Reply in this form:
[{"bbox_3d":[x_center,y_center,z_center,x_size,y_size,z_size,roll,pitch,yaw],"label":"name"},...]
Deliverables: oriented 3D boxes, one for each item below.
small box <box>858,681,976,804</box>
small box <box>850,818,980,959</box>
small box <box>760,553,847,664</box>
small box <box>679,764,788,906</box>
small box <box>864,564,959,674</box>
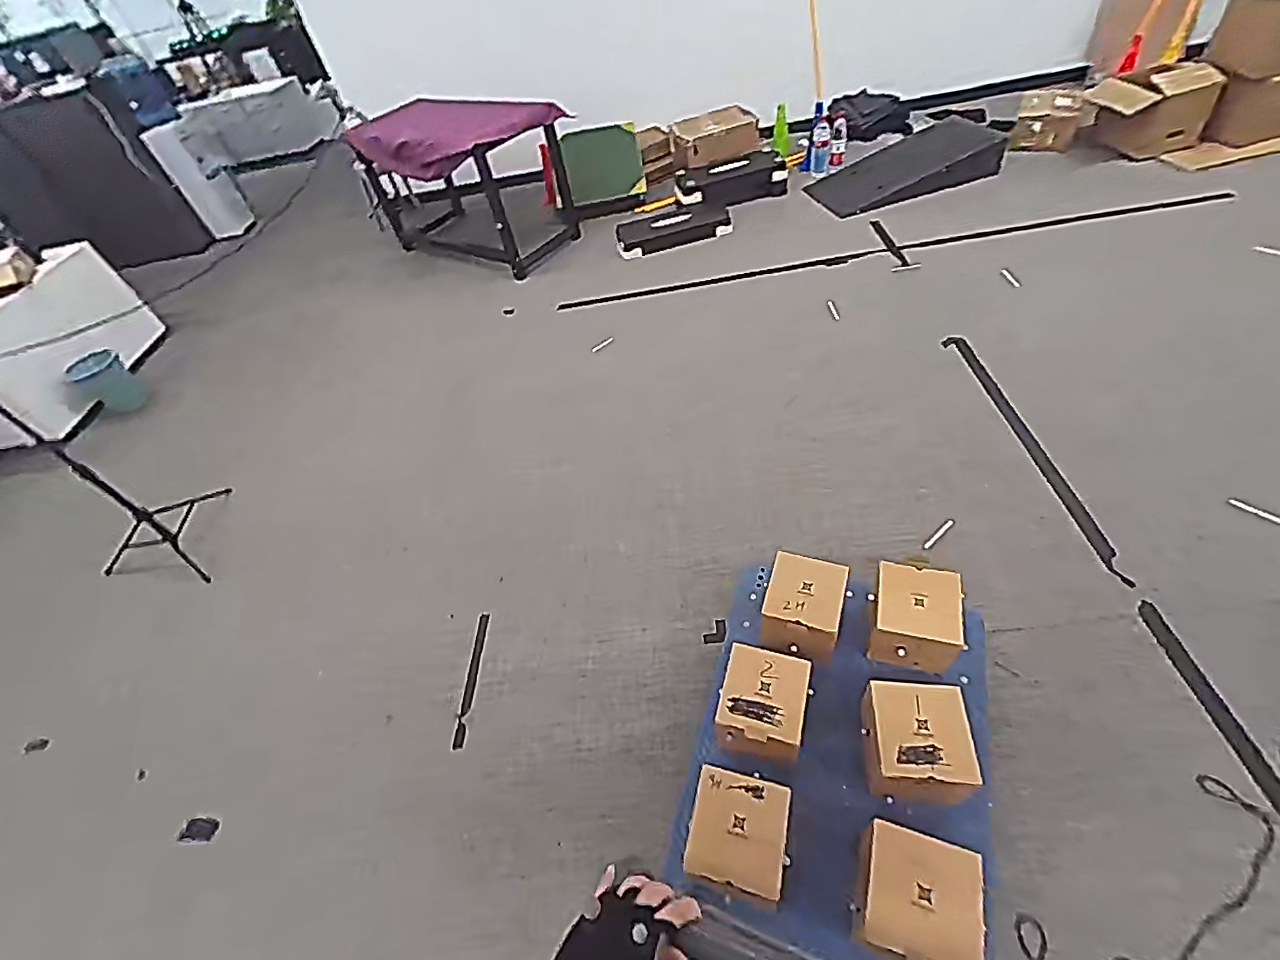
[{"bbox_3d":[0.536,0.523,1.072,0.168,0.176,0.179,1,49,12],"label":"small box"},{"bbox_3d":[0.460,0.716,0.919,0.168,0.176,0.179,11,52,20],"label":"small box"},{"bbox_3d":[0.386,0.308,1.291,0.168,0.176,0.179,11,53,21],"label":"small box"},{"bbox_3d":[0.181,0.669,1.016,0.168,0.176,0.179,8,52,17],"label":"small box"},{"bbox_3d":[0.614,0.320,1.236,0.168,0.176,0.179,8,51,18],"label":"small box"}]
